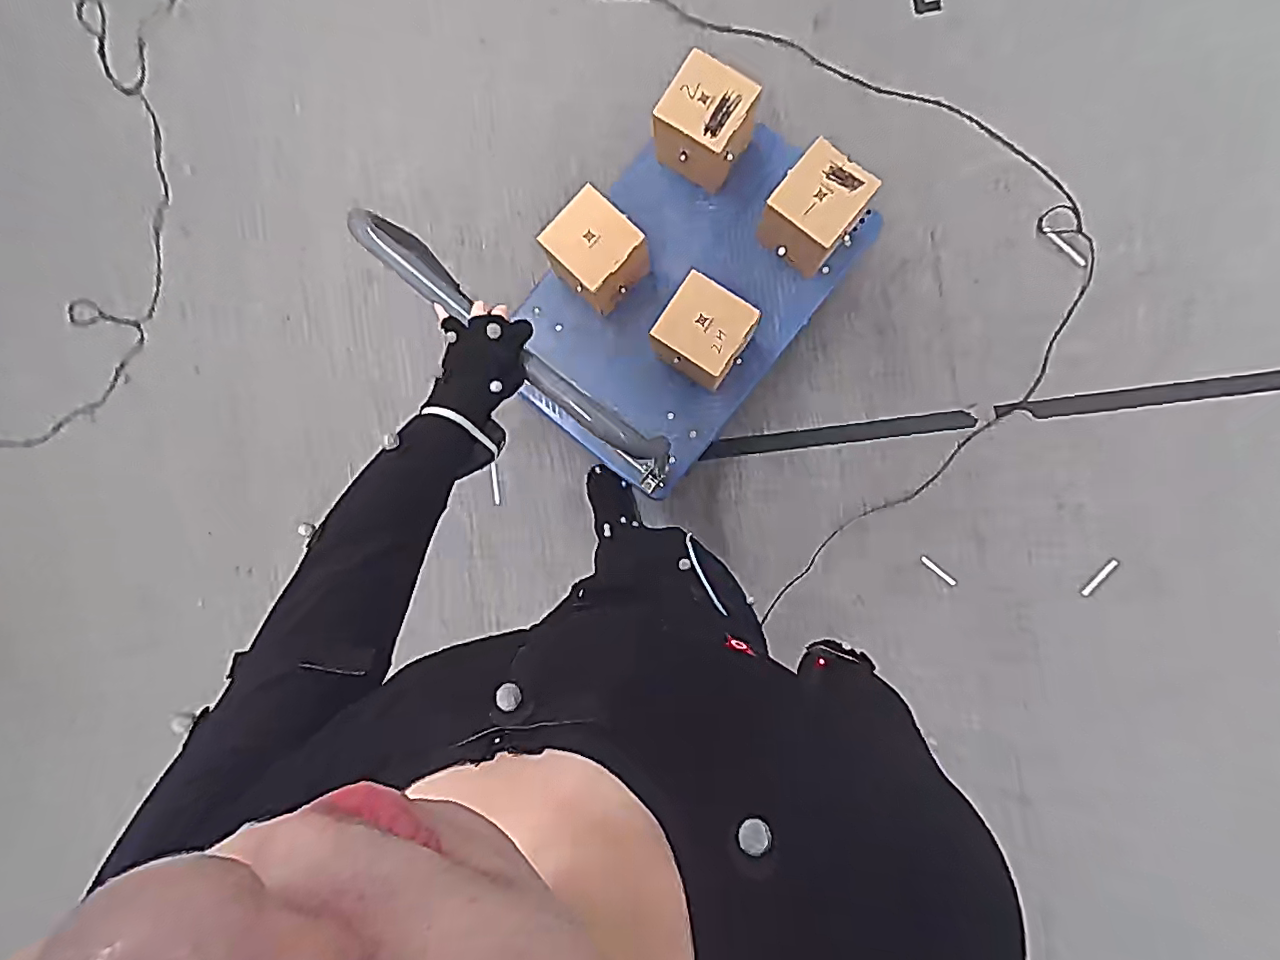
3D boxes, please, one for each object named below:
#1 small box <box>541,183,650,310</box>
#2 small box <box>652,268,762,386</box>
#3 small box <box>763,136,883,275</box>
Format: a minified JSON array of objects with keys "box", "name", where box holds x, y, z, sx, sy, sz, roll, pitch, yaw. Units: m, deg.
[{"box":[-0.095,-0.521,1.234,0.179,0.176,0.168,44,92,3],"name":"small box"},{"box":[0.145,-0.330,1.209,0.179,0.176,0.168,35,92,4],"name":"small box"},{"box":[0.390,-0.595,1.193,0.168,0.176,0.179,40,94,4],"name":"small box"}]
